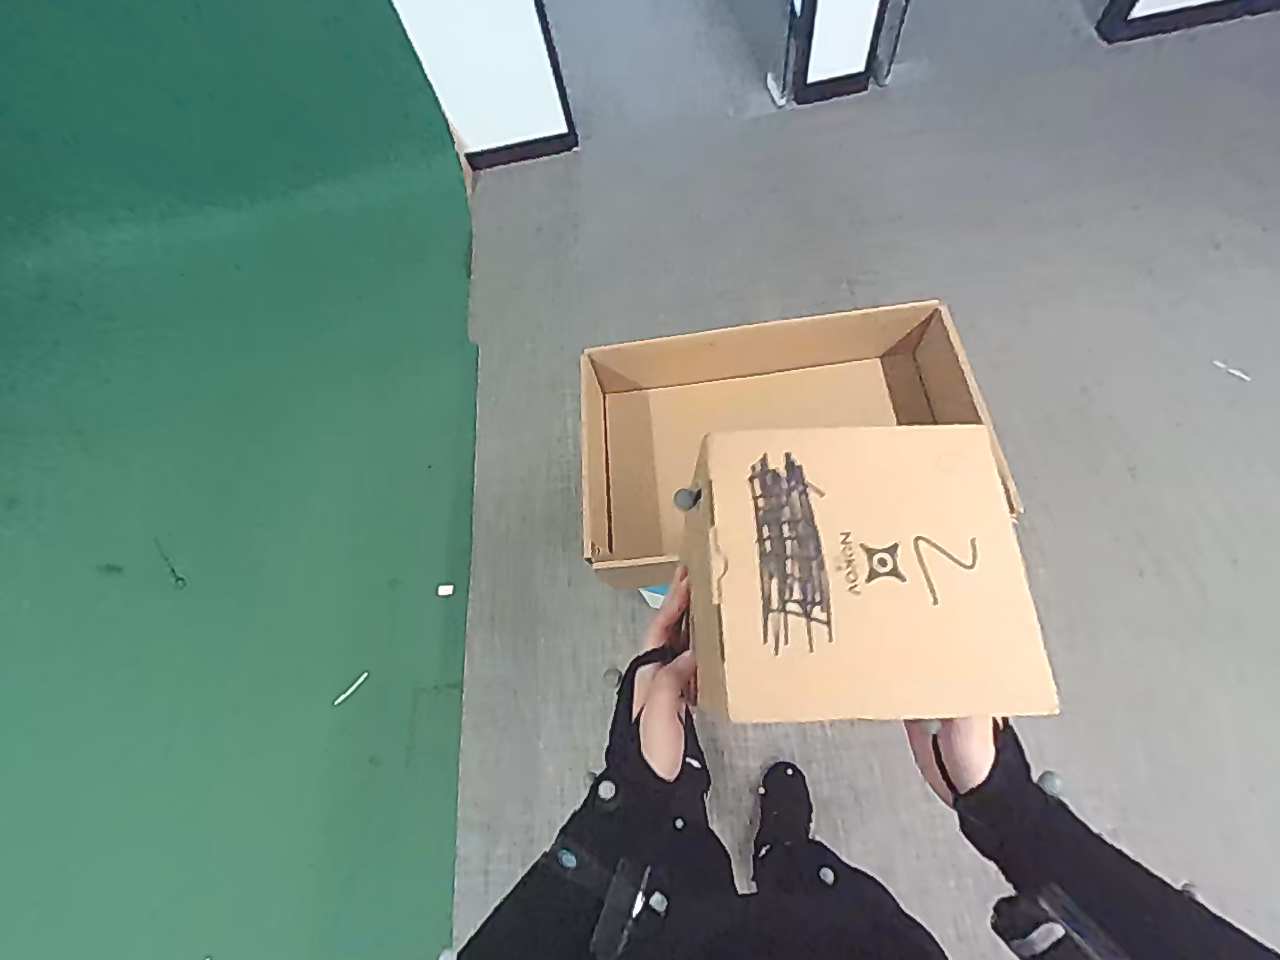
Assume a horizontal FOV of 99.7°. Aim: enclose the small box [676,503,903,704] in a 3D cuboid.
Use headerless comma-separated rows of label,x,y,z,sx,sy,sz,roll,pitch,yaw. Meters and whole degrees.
small box,0.128,0.125,0.535,0.179,0.176,0.168,0,71,2
